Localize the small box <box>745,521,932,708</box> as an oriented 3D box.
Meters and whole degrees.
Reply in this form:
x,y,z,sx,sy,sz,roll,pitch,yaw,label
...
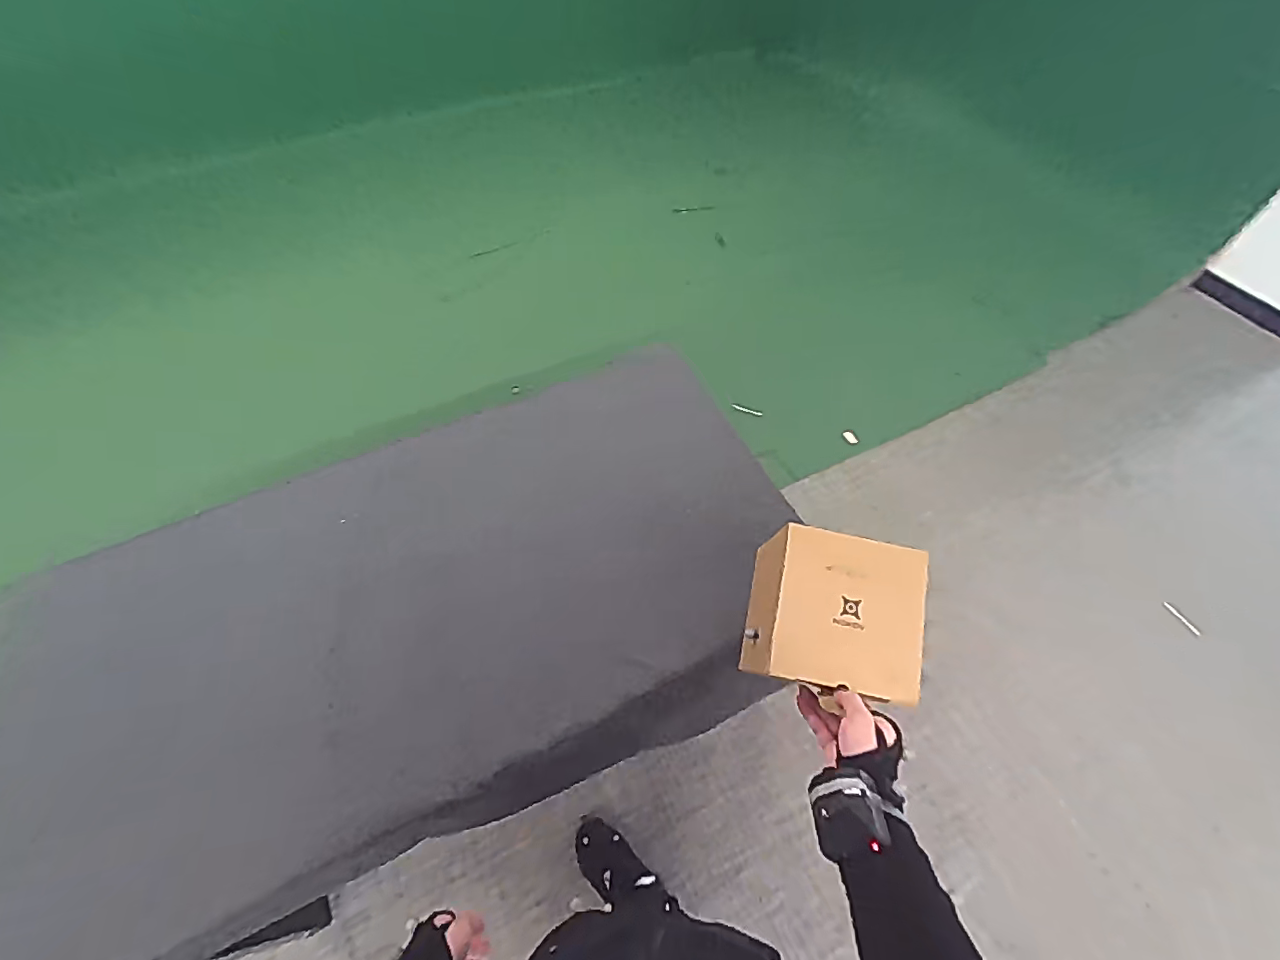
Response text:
x,y,z,sx,sy,sz,roll,pitch,yaw,label
0.236,0.170,0.678,0.168,0.176,0.179,13,71,2,small box
